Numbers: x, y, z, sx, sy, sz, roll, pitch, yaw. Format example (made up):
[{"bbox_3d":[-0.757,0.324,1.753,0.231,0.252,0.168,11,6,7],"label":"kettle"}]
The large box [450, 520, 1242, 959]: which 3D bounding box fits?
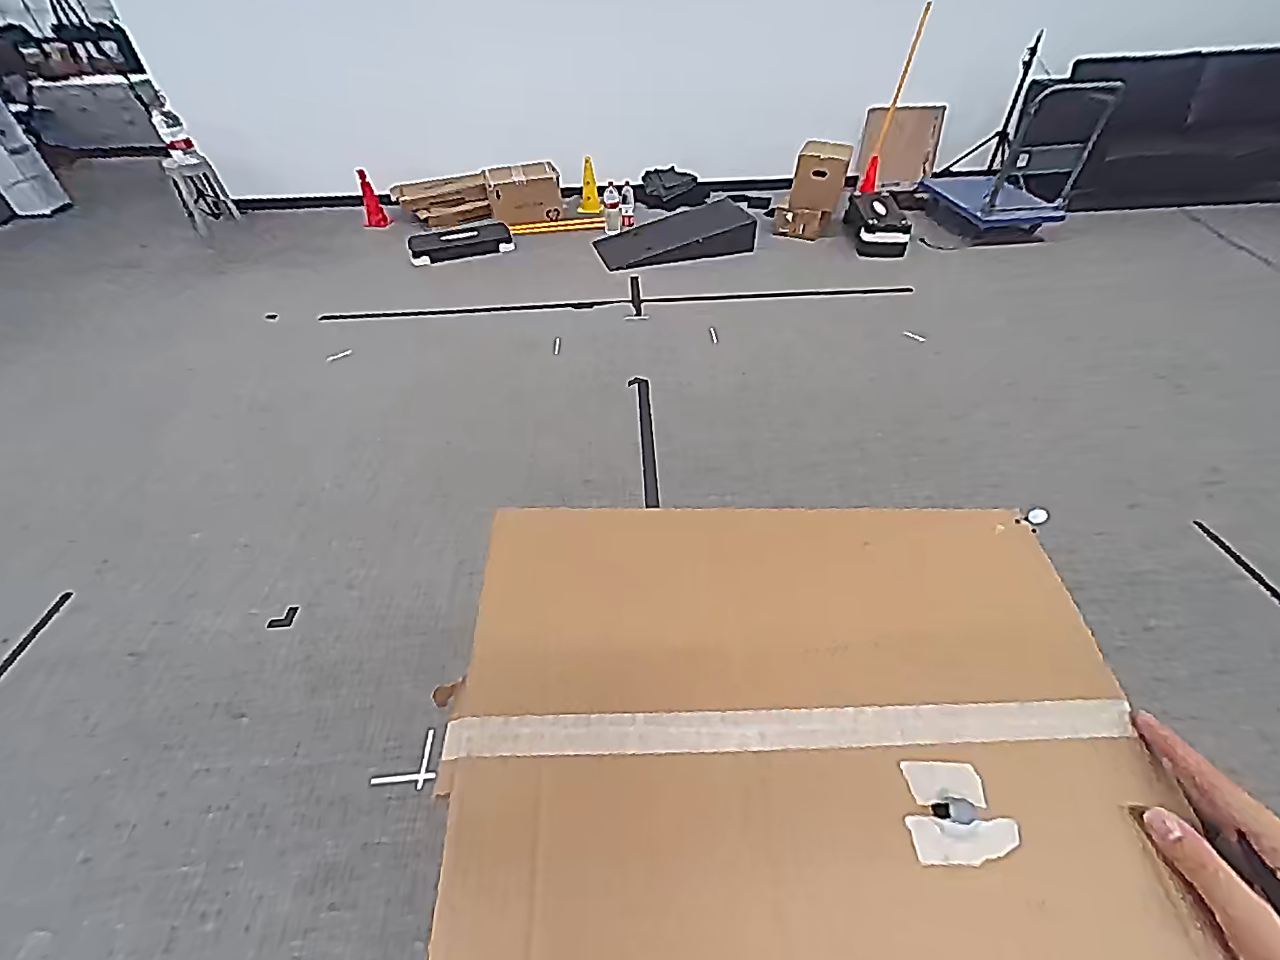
[{"bbox_3d":[0.091,0.245,0.444,0.408,0.320,0.320,0,53,-4],"label":"large box"}]
